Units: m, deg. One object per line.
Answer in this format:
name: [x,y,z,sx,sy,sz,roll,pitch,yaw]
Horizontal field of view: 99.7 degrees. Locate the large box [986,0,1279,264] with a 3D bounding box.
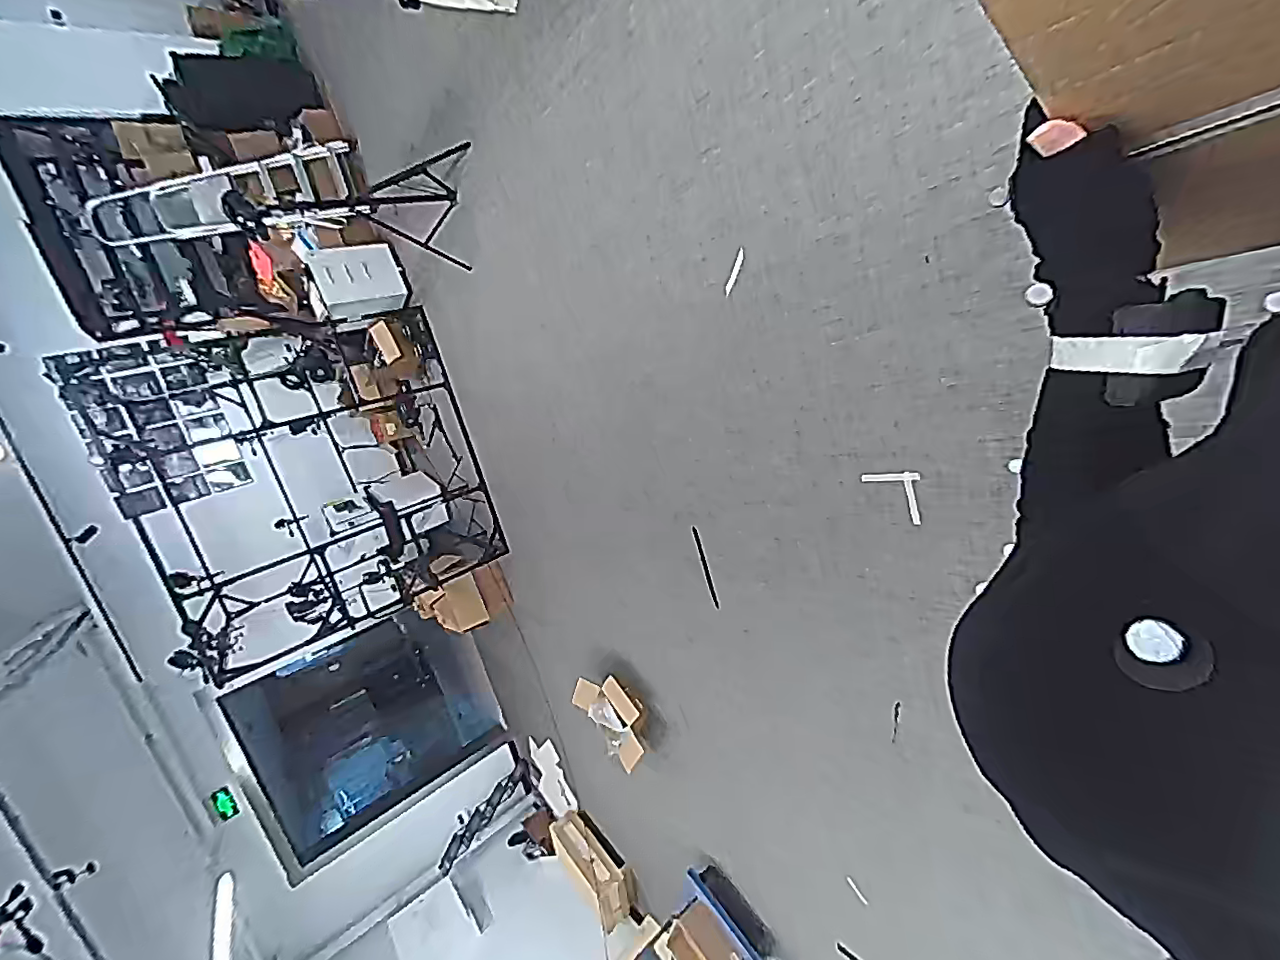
large box: [0.406,-0.334,0.178,0.408,0.320,0.320,4,82,55]
